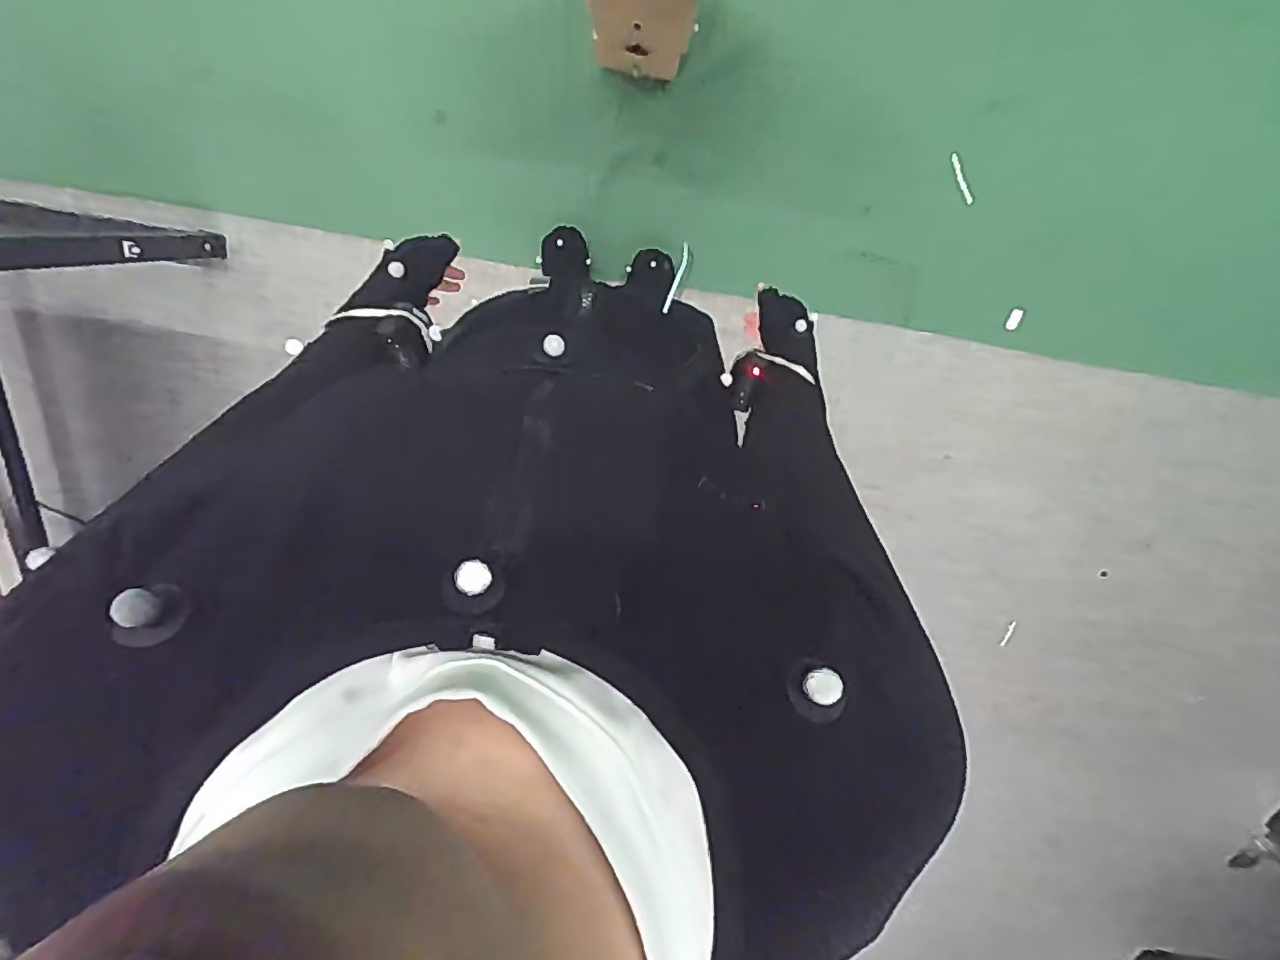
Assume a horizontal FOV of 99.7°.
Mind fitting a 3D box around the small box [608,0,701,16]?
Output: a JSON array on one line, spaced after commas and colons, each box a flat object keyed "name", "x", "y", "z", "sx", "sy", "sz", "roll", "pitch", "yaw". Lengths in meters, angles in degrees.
[{"name": "small box", "x": 0.019, "y": -0.786, "z": 0.749, "sx": 0.179, "sy": 0.176, "sz": 0.168, "roll": 8, "pitch": 113, "yaw": -4}]

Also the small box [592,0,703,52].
[{"name": "small box", "x": 0.022, "y": -0.848, "z": 0.896, "sx": 0.179, "sy": 0.176, "sz": 0.168, "roll": 11, "pitch": 111, "yaw": -5}]

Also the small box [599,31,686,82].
[{"name": "small box", "x": 0.016, "y": -0.913, "z": 1.050, "sx": 0.168, "sy": 0.176, "sz": 0.179, "roll": 9, "pitch": 113, "yaw": -3}]
